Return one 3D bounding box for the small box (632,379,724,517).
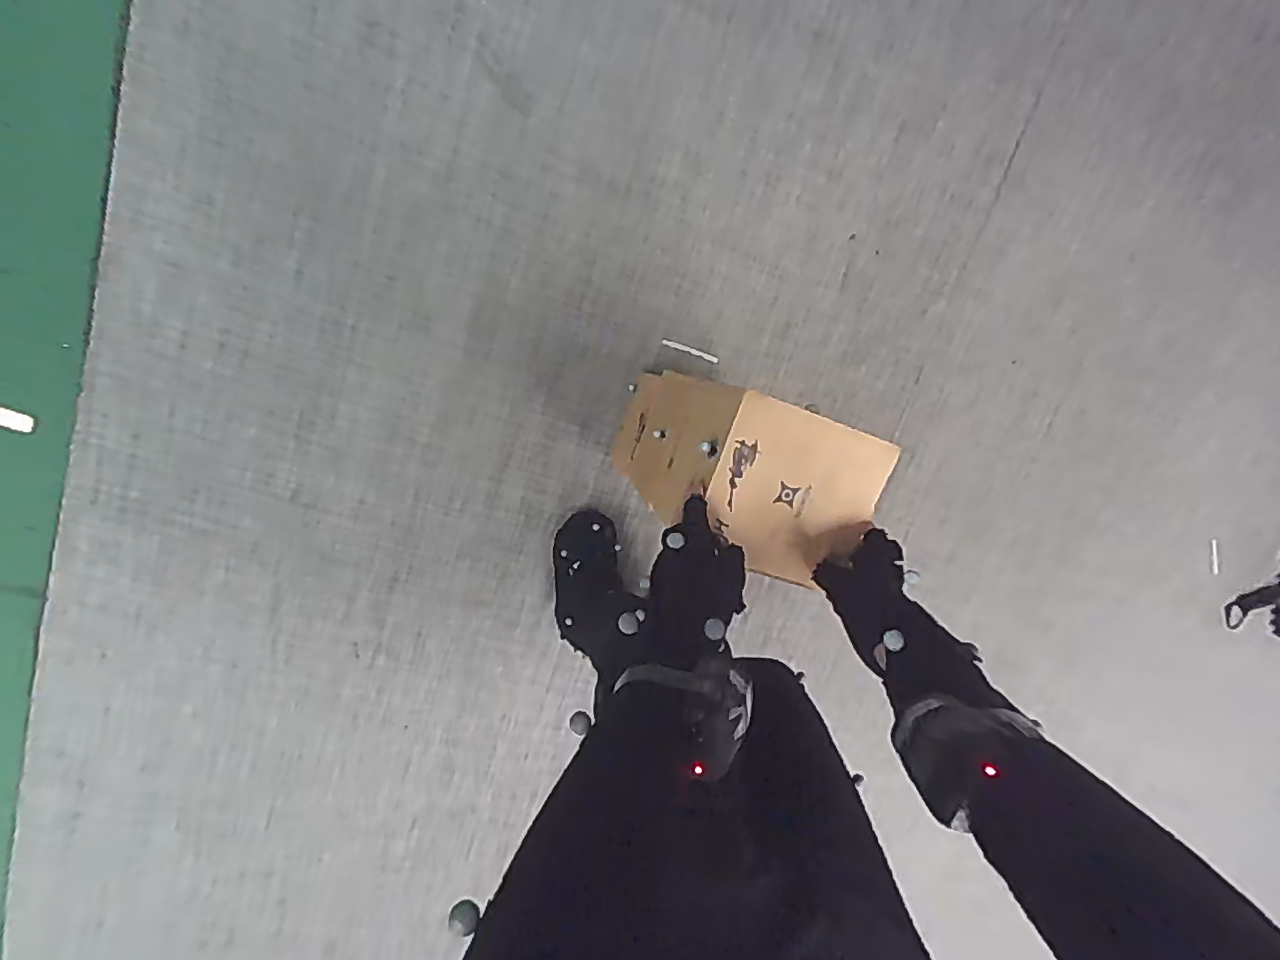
[{"bbox_3d":[0.096,-0.035,0.762,0.168,0.176,0.179,17,101,-13],"label":"small box"}]

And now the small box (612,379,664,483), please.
[{"bbox_3d":[0.061,-0.071,0.934,0.179,0.176,0.168,17,101,-14],"label":"small box"}]

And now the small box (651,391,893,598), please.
[{"bbox_3d":[0.132,0.005,0.605,0.179,0.176,0.168,19,98,-14],"label":"small box"}]
